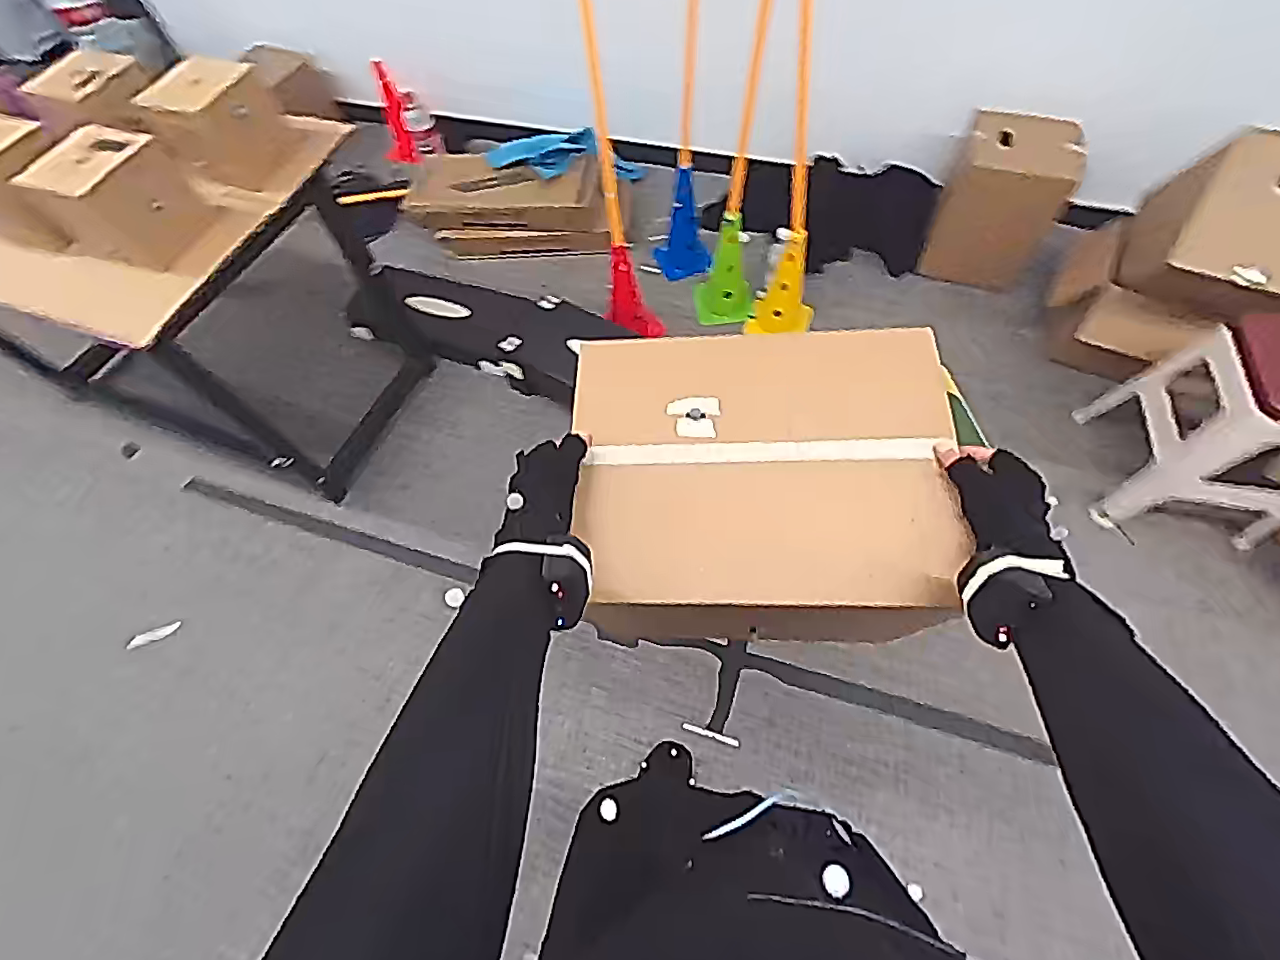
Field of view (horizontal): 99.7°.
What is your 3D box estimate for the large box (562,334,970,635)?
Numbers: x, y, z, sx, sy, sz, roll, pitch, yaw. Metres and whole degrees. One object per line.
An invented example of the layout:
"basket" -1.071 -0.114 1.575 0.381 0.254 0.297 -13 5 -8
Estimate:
"large box" 0.138 0.036 0.724 0.408 0.320 0.320 -2 67 7
